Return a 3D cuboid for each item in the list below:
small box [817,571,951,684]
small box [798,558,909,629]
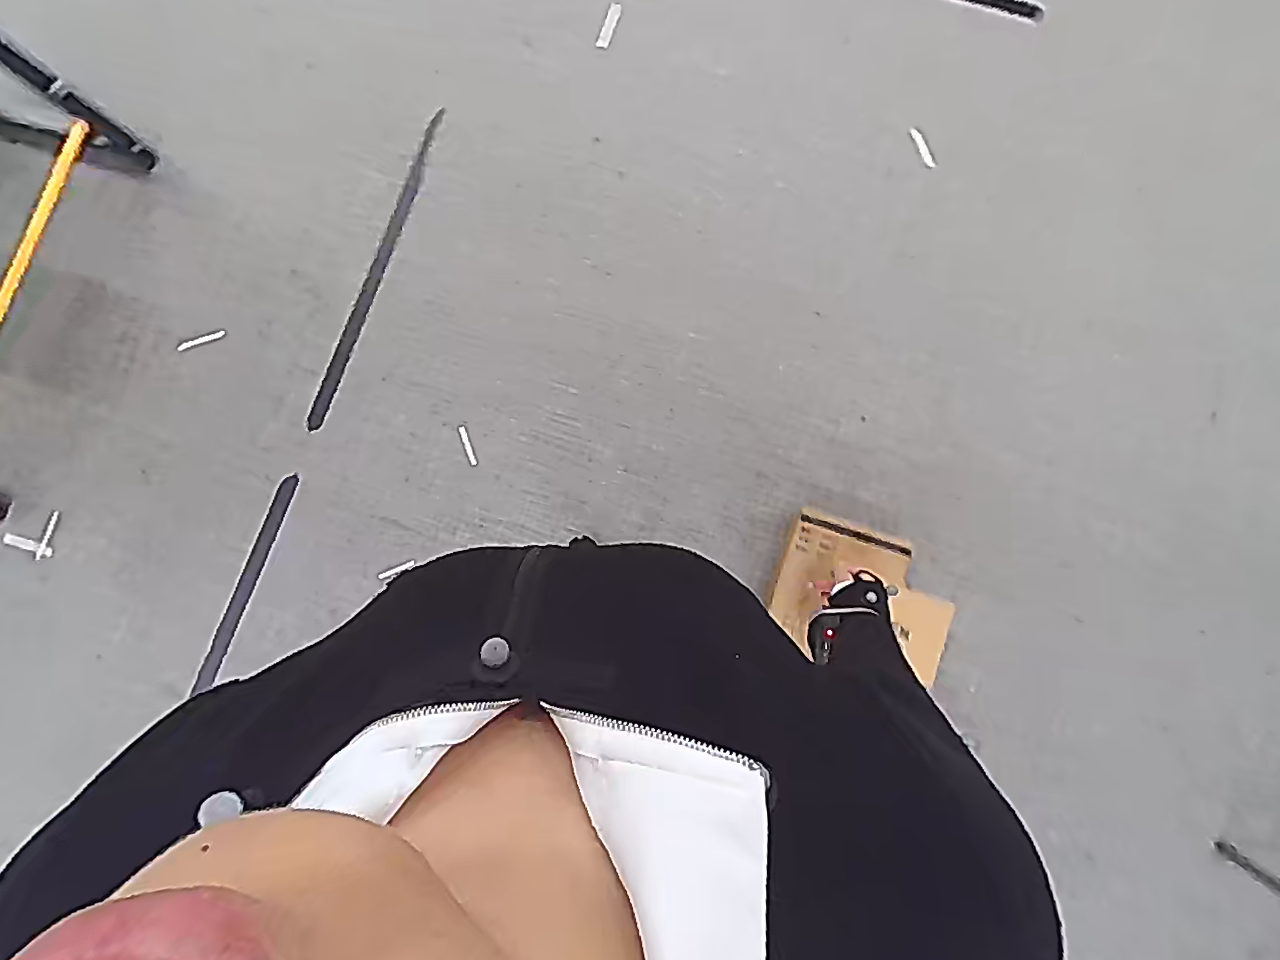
[{"bbox_3d":[0.497,0.295,1.125,0.179,0.176,0.168,20,86,3],"label":"small box"},{"bbox_3d":[0.501,0.289,1.291,0.179,0.176,0.168,18,86,4],"label":"small box"}]
